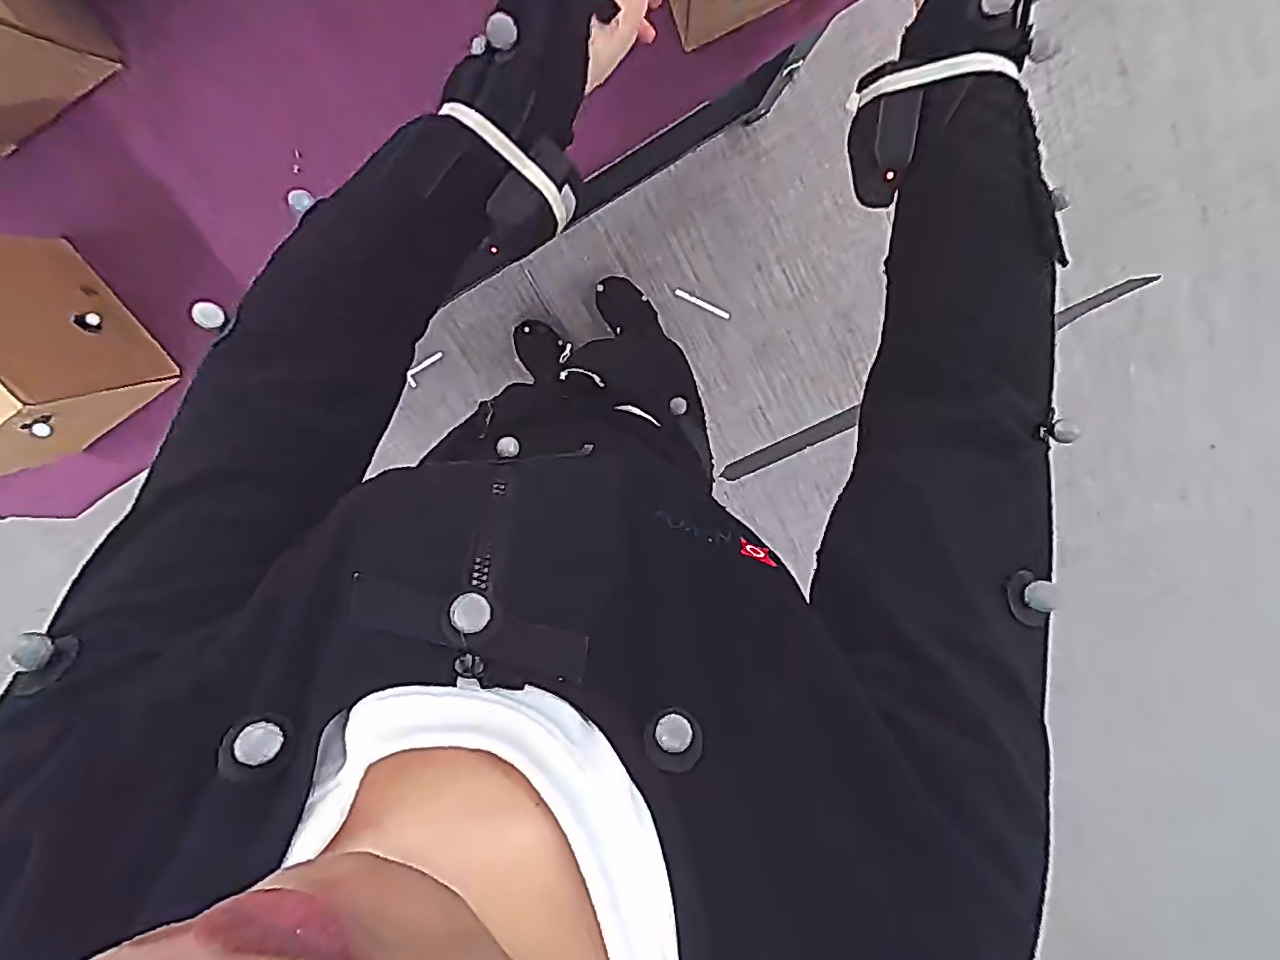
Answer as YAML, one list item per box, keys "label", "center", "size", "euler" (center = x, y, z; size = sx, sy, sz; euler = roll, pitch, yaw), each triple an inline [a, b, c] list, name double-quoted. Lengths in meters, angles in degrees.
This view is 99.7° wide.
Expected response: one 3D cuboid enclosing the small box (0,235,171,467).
- label: "small box"
  center: [-0.628, -0.117, 0.522]
  size: [0.179, 0.176, 0.168]
  euler: [-30, 107, 10]
